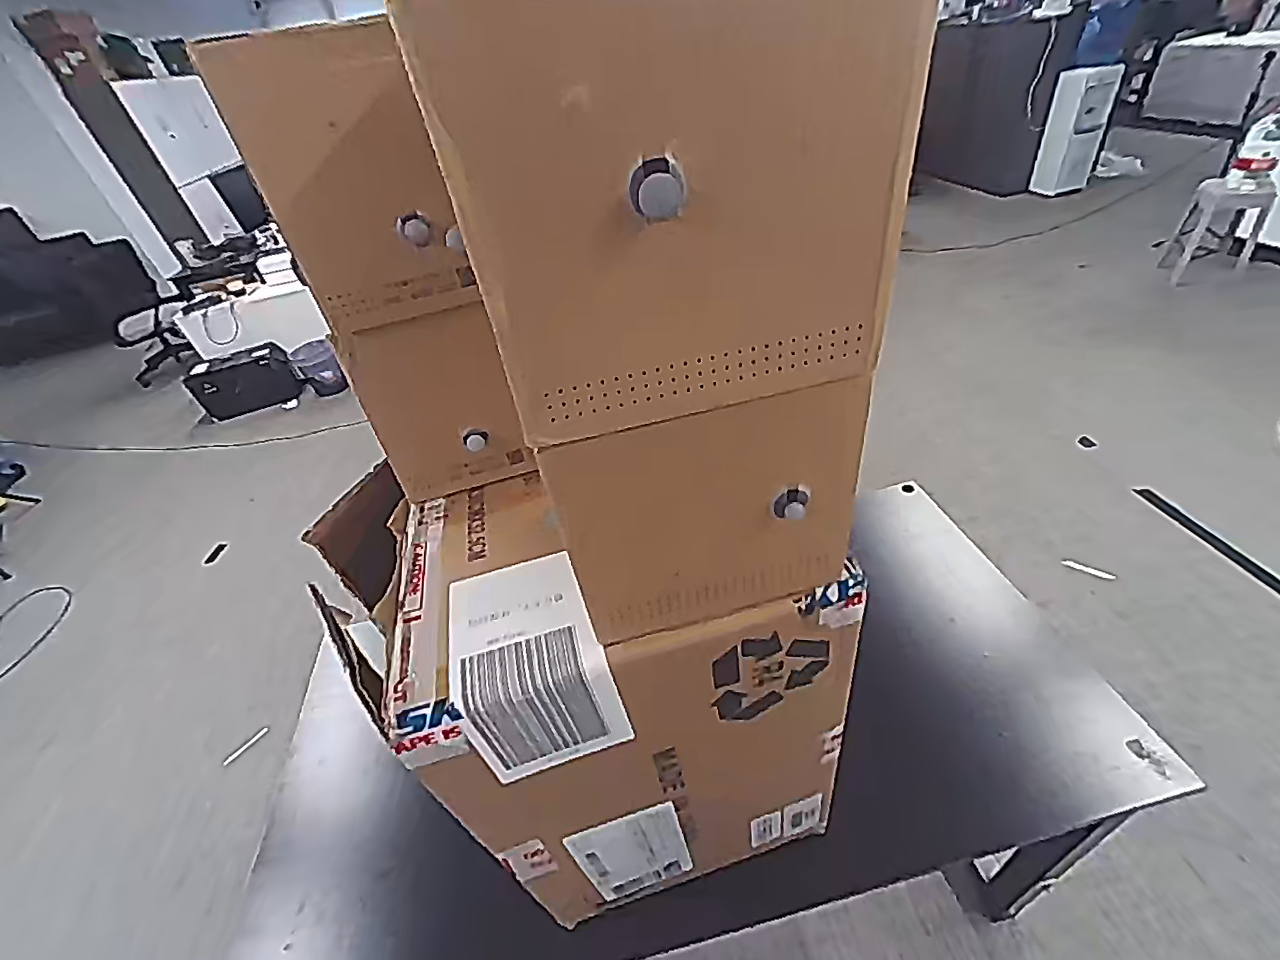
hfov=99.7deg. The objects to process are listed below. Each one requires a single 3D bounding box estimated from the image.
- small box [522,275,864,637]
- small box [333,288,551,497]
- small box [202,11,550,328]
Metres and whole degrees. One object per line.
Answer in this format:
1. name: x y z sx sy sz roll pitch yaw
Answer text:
1. small box: 0.027 -0.019 0.382 0.179 0.176 0.168 -15 39 -4
2. small box: -0.166 -0.111 0.530 0.168 0.176 0.179 -16 39 -8
3. small box: -0.179 -0.237 0.423 0.168 0.176 0.179 -18 38 -9
